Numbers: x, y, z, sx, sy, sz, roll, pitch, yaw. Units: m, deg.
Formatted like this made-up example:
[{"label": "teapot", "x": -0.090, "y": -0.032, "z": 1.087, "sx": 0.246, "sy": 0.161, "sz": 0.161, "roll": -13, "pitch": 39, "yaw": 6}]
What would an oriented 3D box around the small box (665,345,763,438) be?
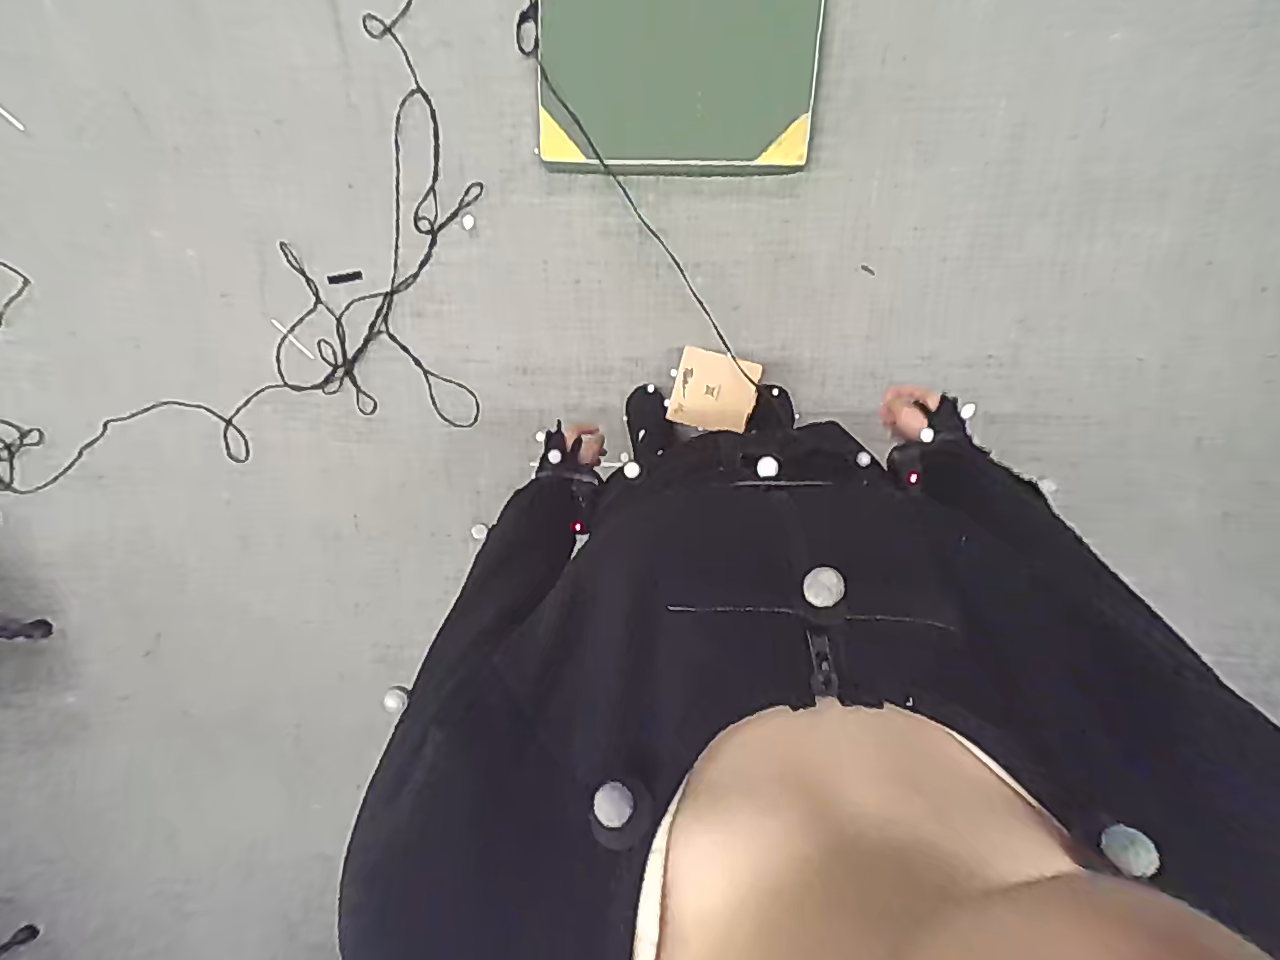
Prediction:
[{"label": "small box", "x": 0.164, "y": -0.205, "z": 1.239, "sx": 0.179, "sy": 0.176, "sz": 0.168, "roll": 15, "pitch": 101, "yaw": 2}]
